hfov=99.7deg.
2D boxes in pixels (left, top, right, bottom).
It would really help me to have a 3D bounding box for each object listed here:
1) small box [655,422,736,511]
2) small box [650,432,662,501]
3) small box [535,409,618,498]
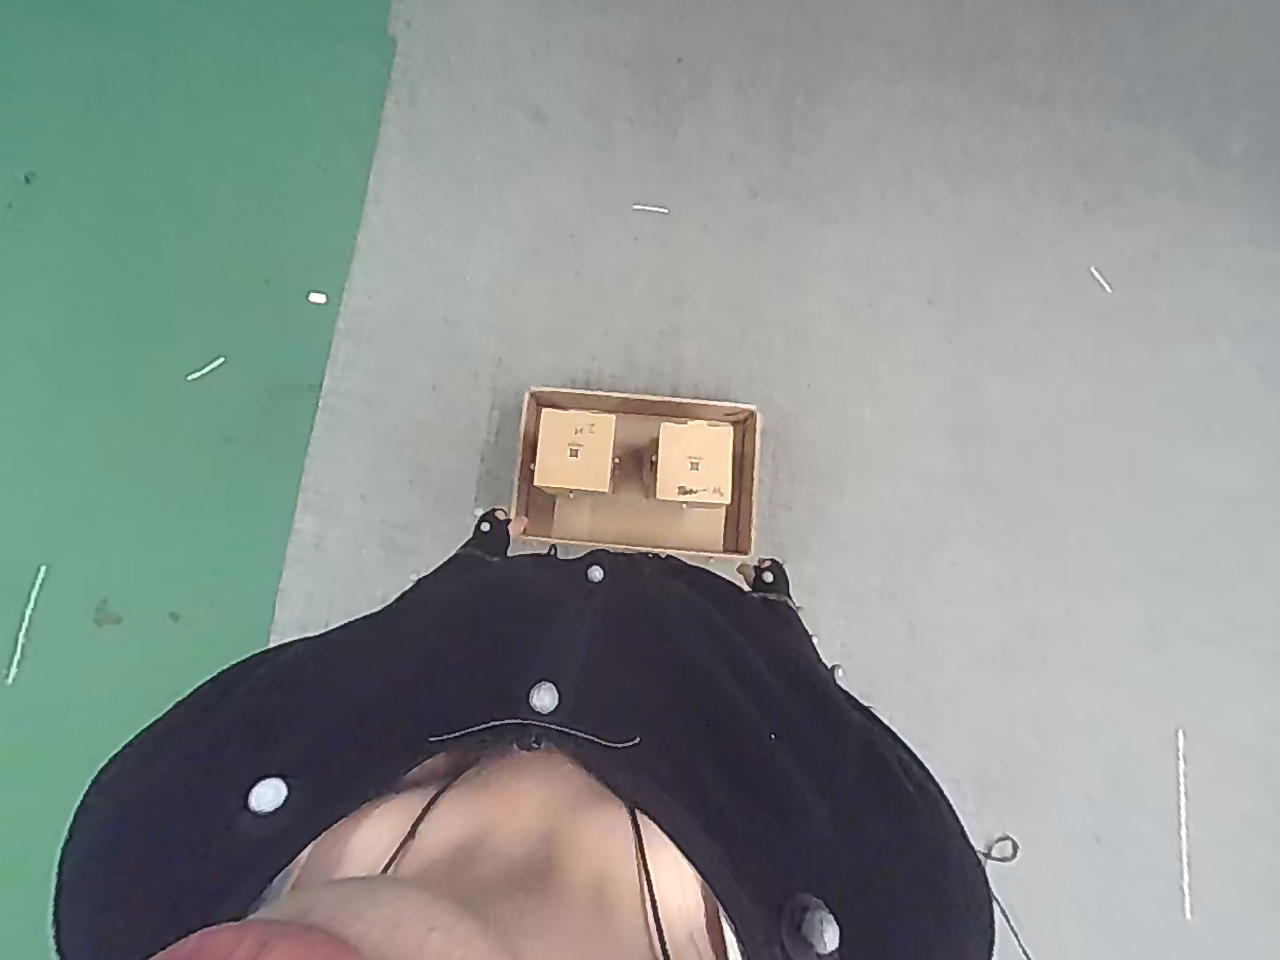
[{"bbox_3d":[0.124,-0.026,1.265,0.168,0.176,0.179,4,82,0],"label":"small box"},{"bbox_3d":[0.116,-0.030,1.429,0.179,0.176,0.168,1,84,-2],"label":"small box"},{"bbox_3d":[-0.141,-0.055,1.264,0.168,0.176,0.179,6,83,-2],"label":"small box"}]
